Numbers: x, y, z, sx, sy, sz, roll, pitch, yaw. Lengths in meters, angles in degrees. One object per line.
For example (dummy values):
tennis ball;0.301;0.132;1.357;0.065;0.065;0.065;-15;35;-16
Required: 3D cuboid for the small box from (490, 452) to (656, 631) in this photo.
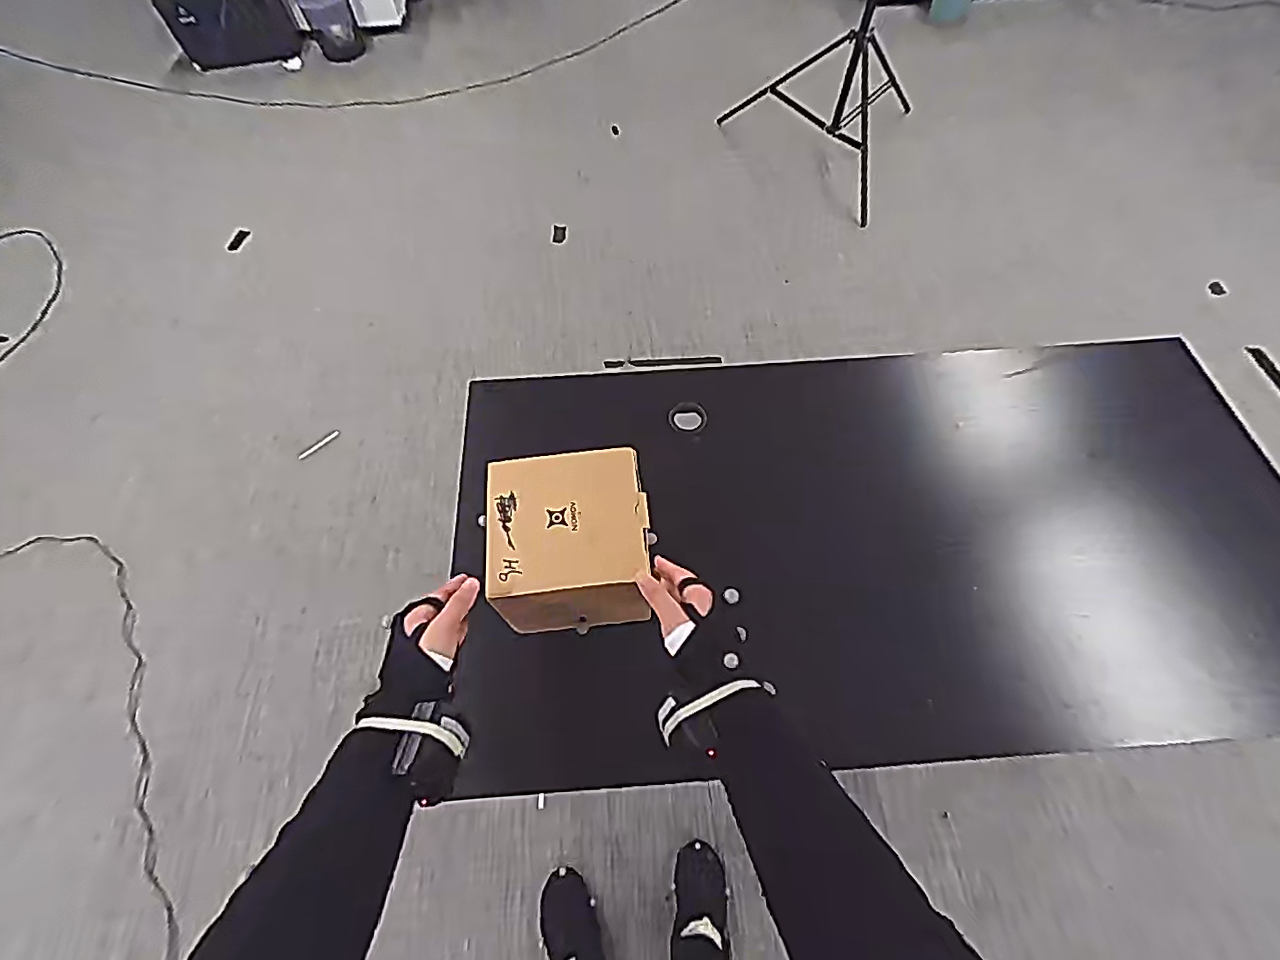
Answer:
small box;-0.079;0.082;0.673;0.179;0.176;0.168;-5;61;-3
